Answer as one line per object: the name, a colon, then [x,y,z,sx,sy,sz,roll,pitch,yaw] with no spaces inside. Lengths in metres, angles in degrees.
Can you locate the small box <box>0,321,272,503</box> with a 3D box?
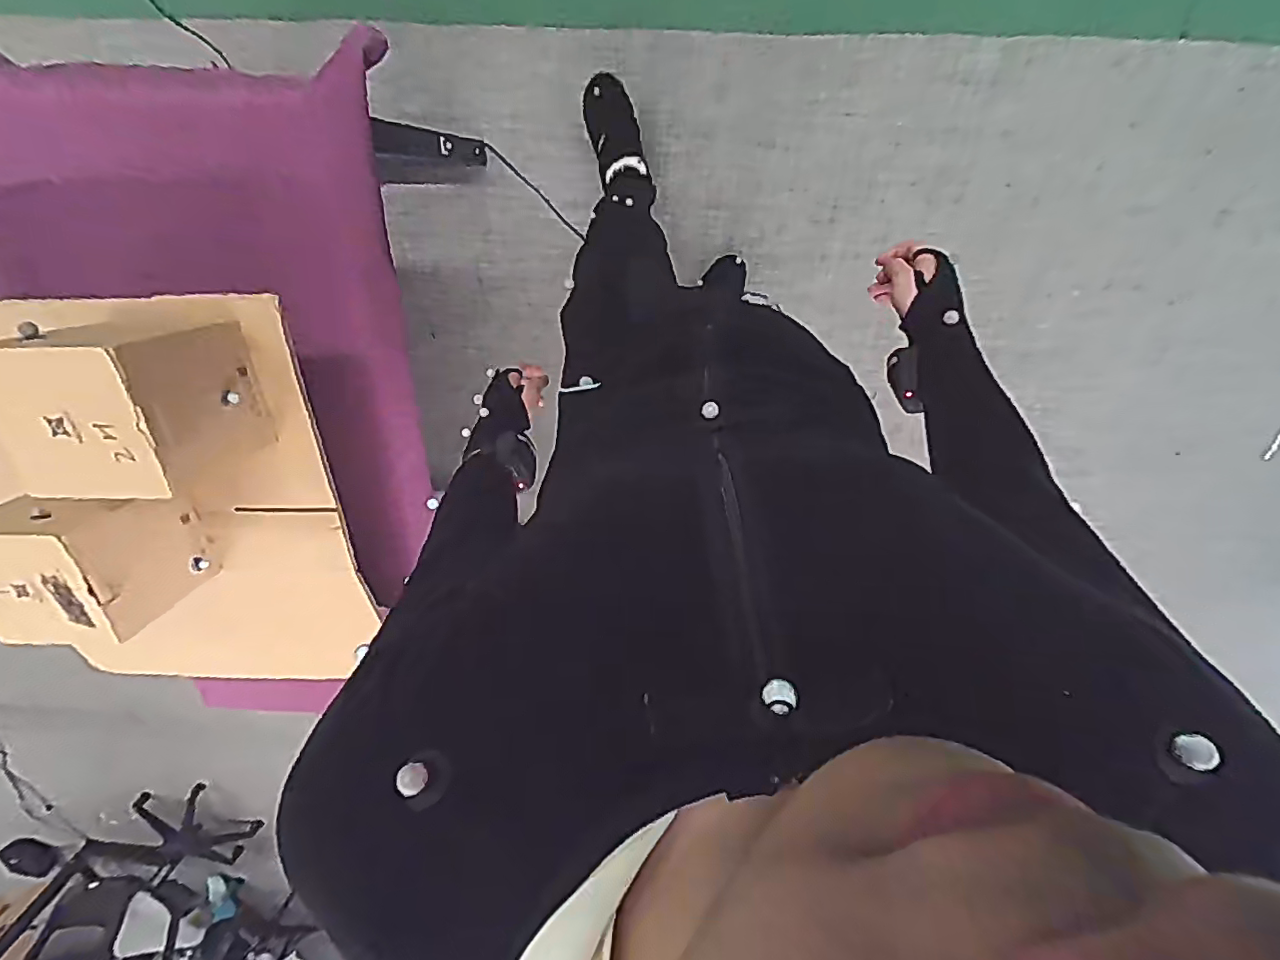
small box: [-0.580,-0.086,0.624,0.179,0.176,0.168,1,115,4]

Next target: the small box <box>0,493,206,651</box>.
small box: [-0.735,0.106,0.724,0.179,0.176,0.168,0,115,5]
